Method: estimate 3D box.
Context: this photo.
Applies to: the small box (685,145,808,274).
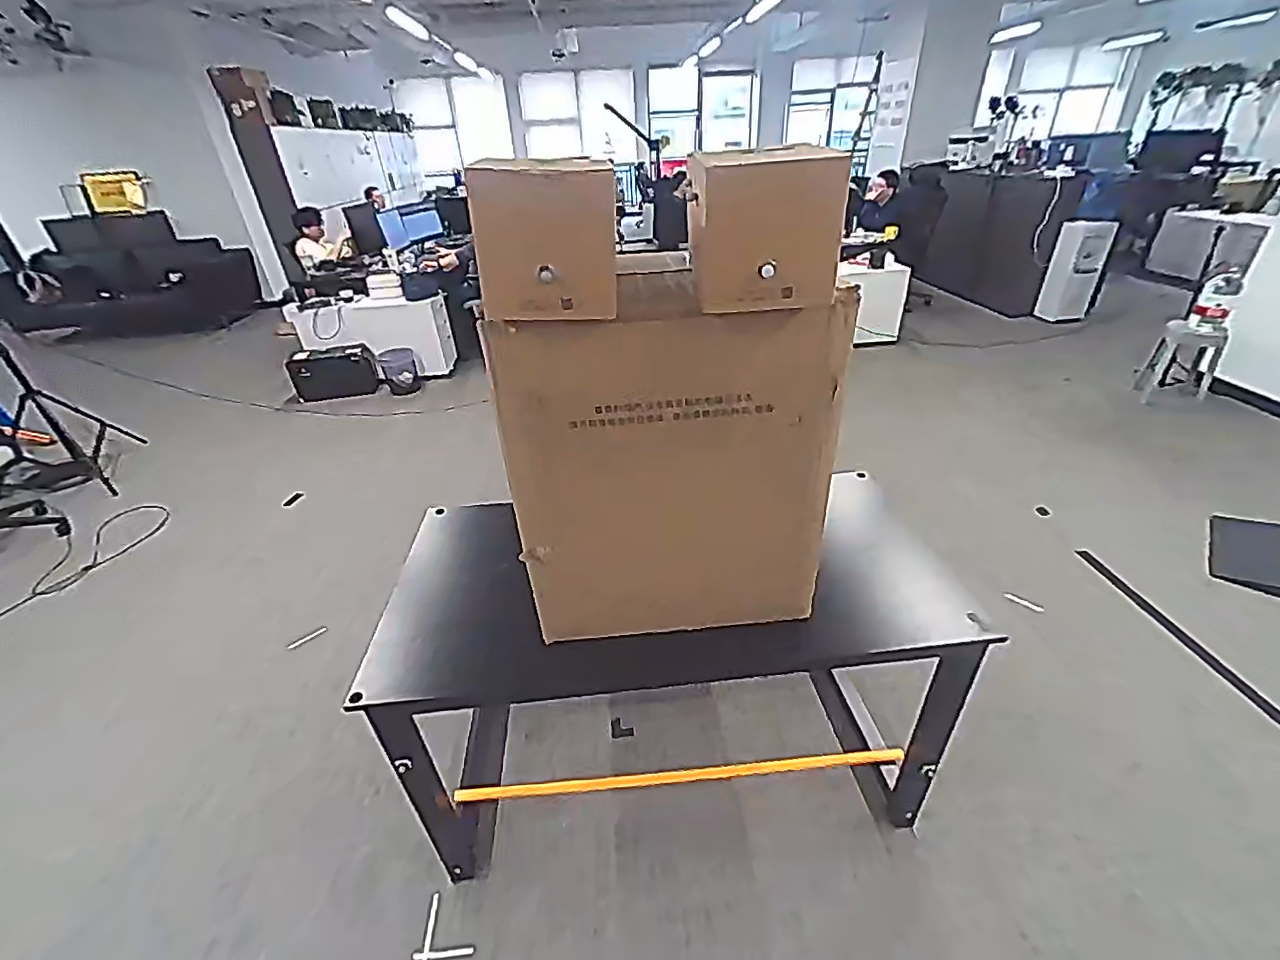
[{"bbox_3d":[0.163,-0.440,0.884,0.168,0.176,0.179,-6,31,1],"label":"small box"}]
